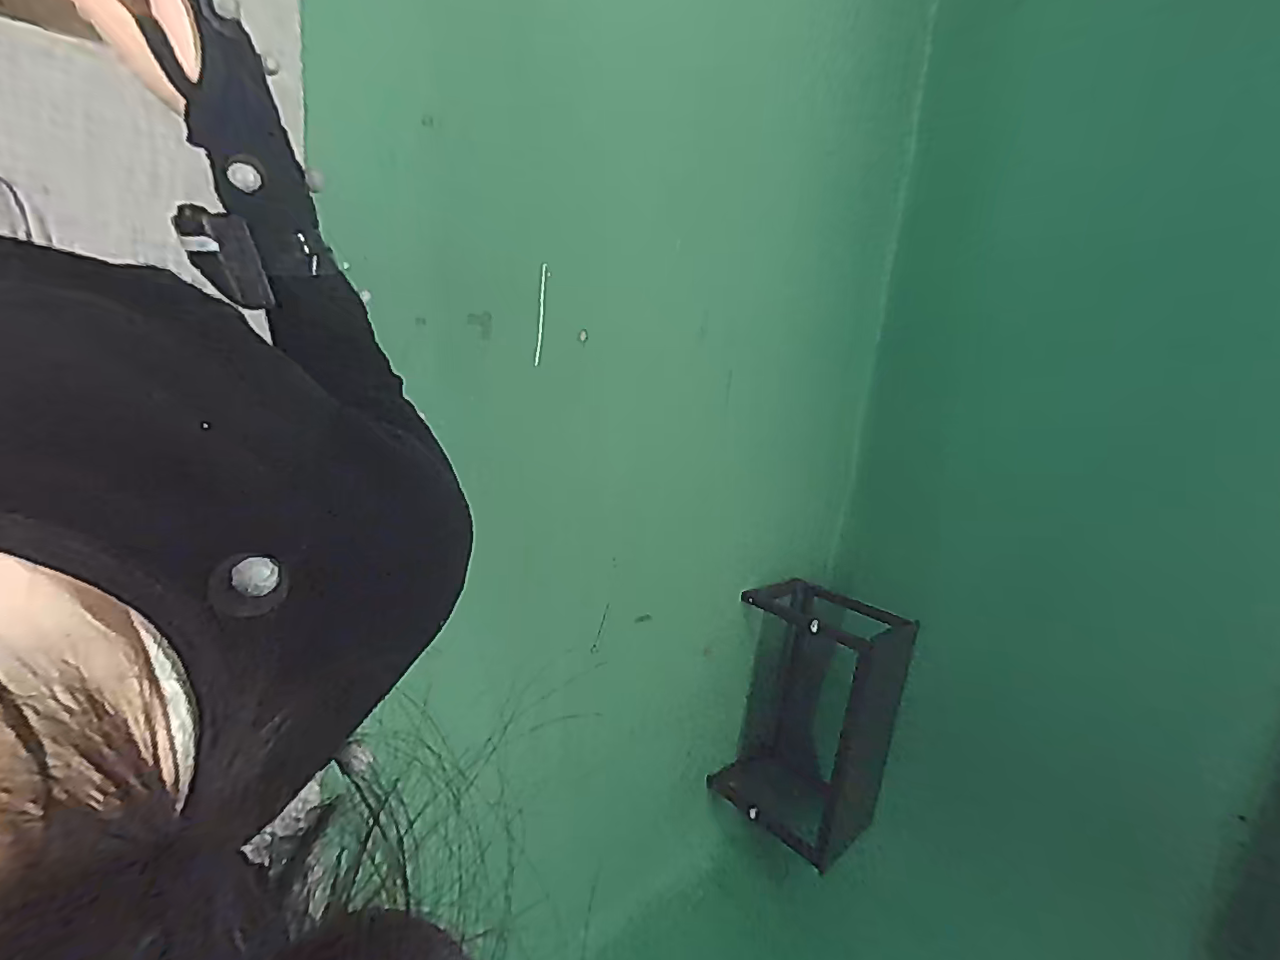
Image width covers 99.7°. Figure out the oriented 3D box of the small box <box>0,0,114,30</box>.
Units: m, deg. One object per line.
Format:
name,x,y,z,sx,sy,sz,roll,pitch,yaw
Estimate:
small box,-0.397,-0.379,0.270,0.168,0.176,0.179,-5,108,-36
